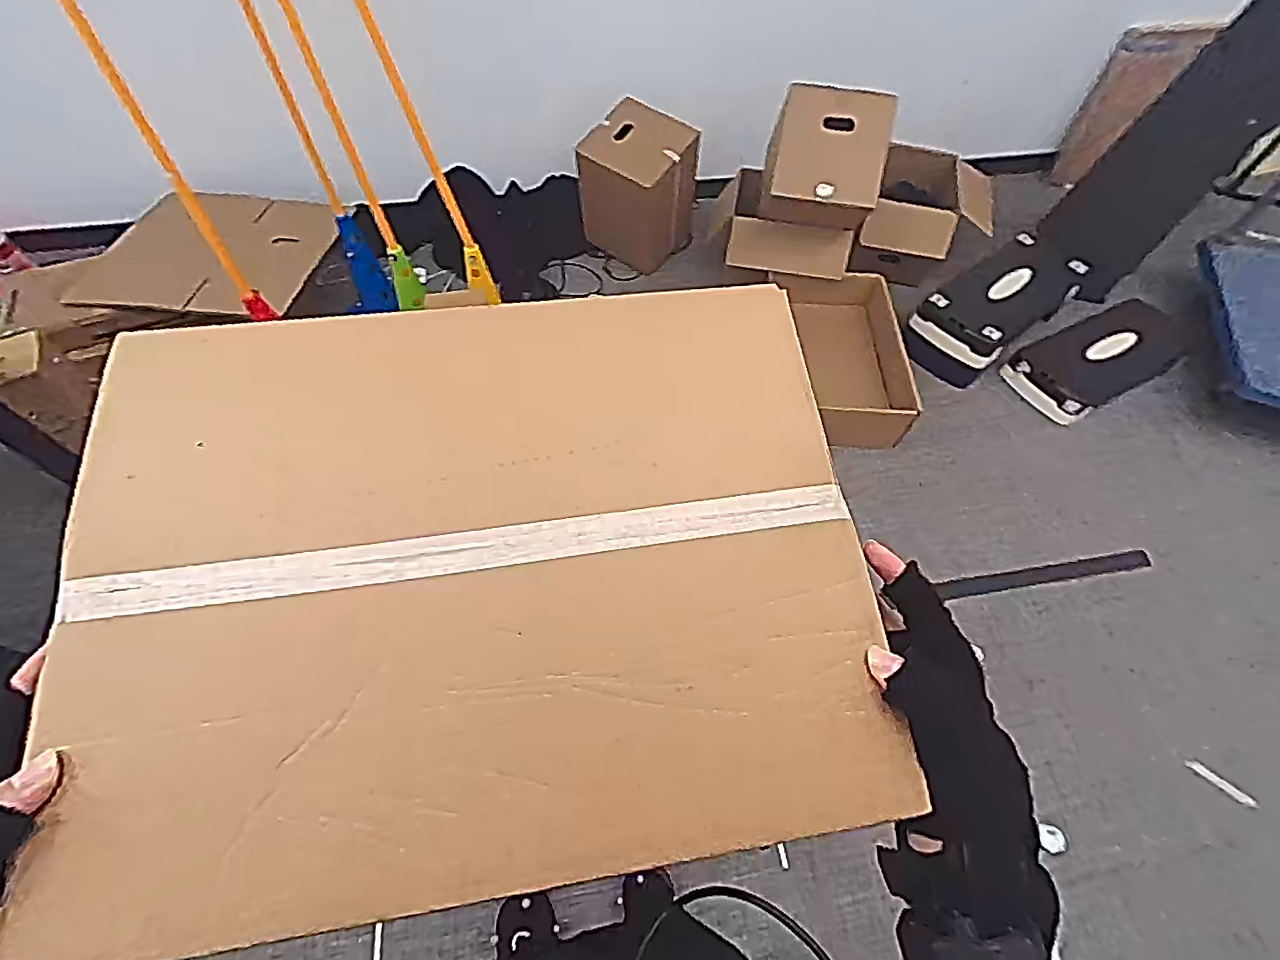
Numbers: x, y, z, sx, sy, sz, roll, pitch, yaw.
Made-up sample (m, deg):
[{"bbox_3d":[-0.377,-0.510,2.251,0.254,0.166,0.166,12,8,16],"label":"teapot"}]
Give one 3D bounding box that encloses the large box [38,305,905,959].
[{"bbox_3d":[-0.090,0.097,0.436,0.408,0.320,0.320,-7,70,-6],"label":"large box"}]
